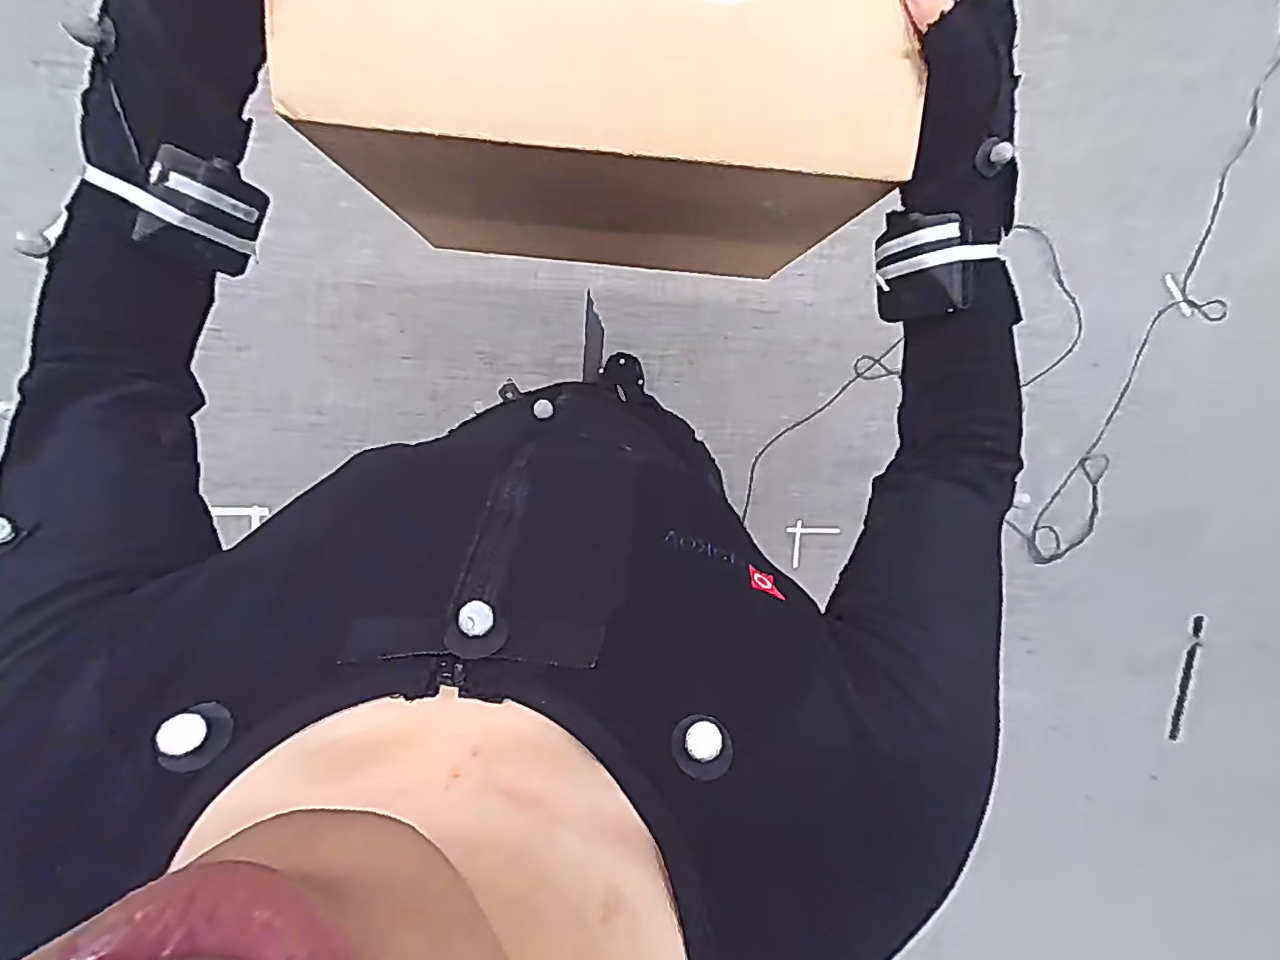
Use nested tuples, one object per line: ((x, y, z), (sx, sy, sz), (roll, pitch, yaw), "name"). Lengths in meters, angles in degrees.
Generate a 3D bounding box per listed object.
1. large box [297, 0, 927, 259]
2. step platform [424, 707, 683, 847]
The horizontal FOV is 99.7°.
((-0.019, -0.400, 0.475), (0.408, 0.320, 0.320), (3, 100, -5), "large box")
((-0.224, 0.808, 1.476), (0.684, 0.204, 0.286), (0, 97, -2), "step platform")
